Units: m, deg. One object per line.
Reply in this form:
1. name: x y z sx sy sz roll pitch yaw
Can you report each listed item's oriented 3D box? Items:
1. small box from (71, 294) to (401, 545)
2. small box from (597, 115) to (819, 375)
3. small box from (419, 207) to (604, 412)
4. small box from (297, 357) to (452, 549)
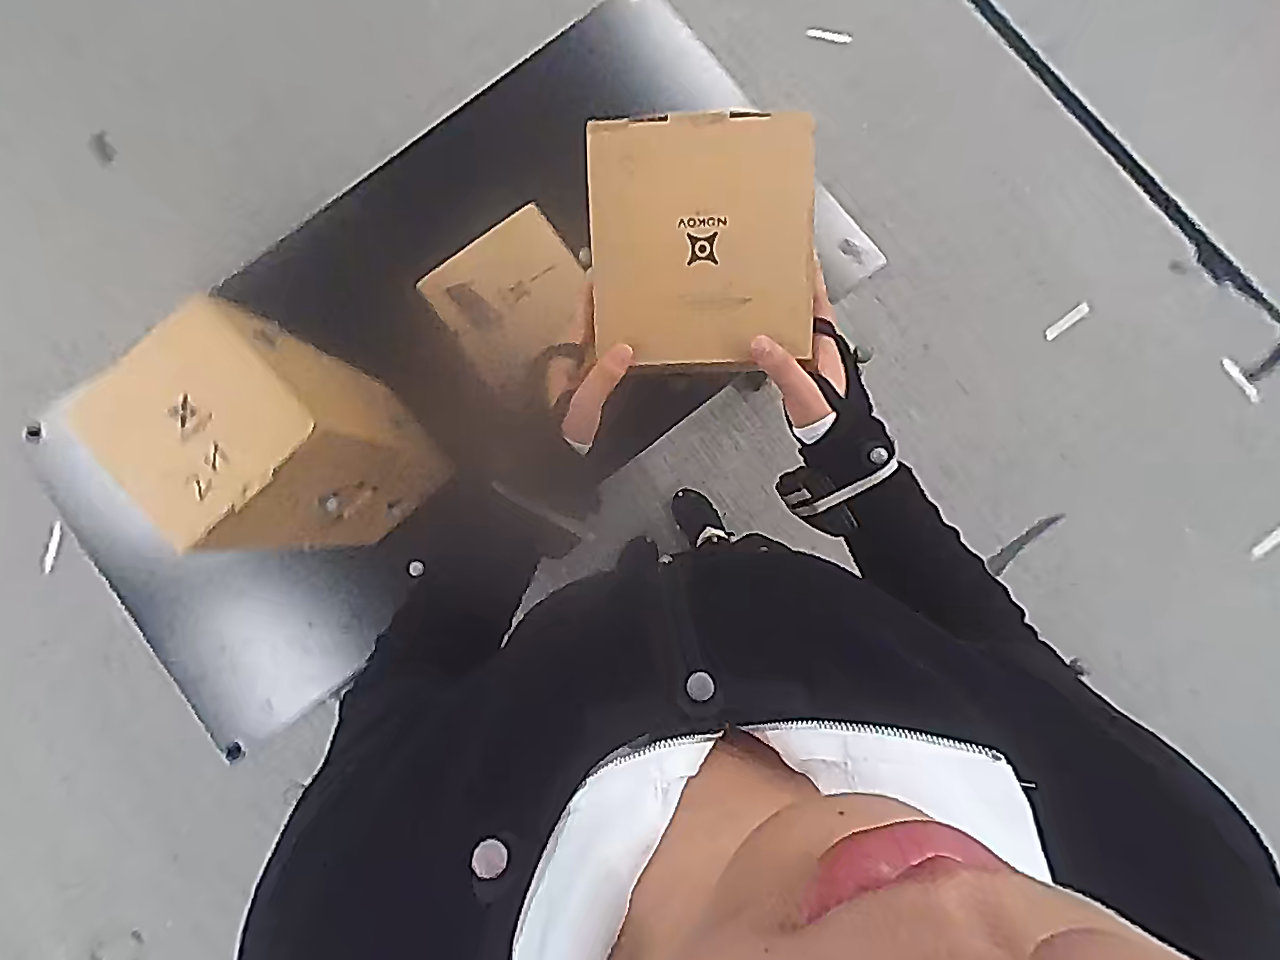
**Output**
1. small box: -0.395 -0.048 0.562 0.168 0.176 0.179 -44 85 -2
2. small box: 0.051 -0.188 0.481 0.168 0.176 0.179 -1 98 2
3. small box: -0.154 -0.216 0.736 0.179 0.176 0.168 -36 85 -2
4. small box: -0.388 -0.030 0.727 0.168 0.176 0.179 -42 86 -2
